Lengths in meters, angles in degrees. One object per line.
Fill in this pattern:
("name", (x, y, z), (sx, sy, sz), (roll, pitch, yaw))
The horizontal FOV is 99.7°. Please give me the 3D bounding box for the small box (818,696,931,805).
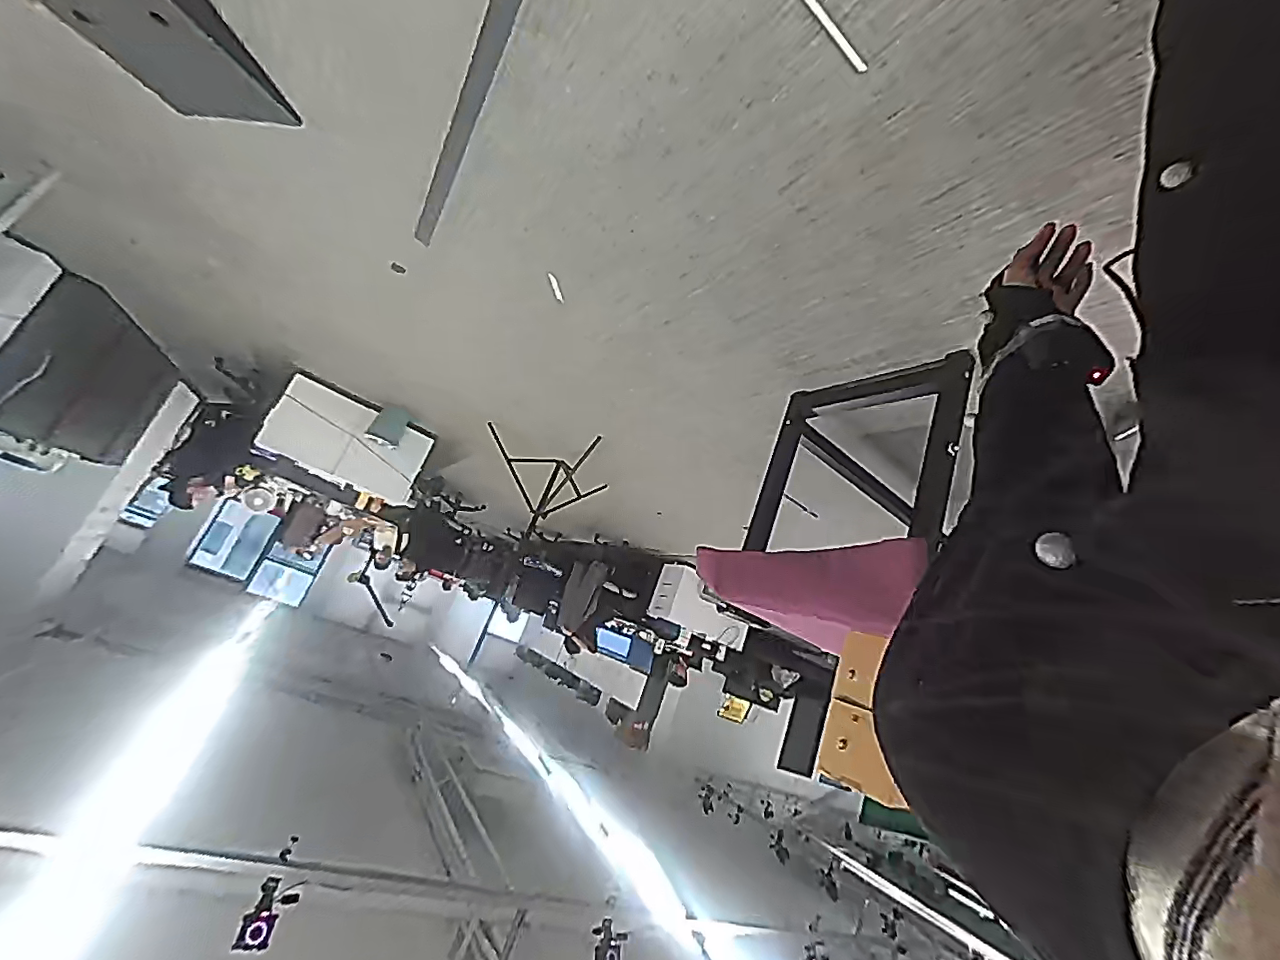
("small box", (0.532, 0.602, 1.218), (0.168, 0.176, 0.179), (5, 160, 48))
